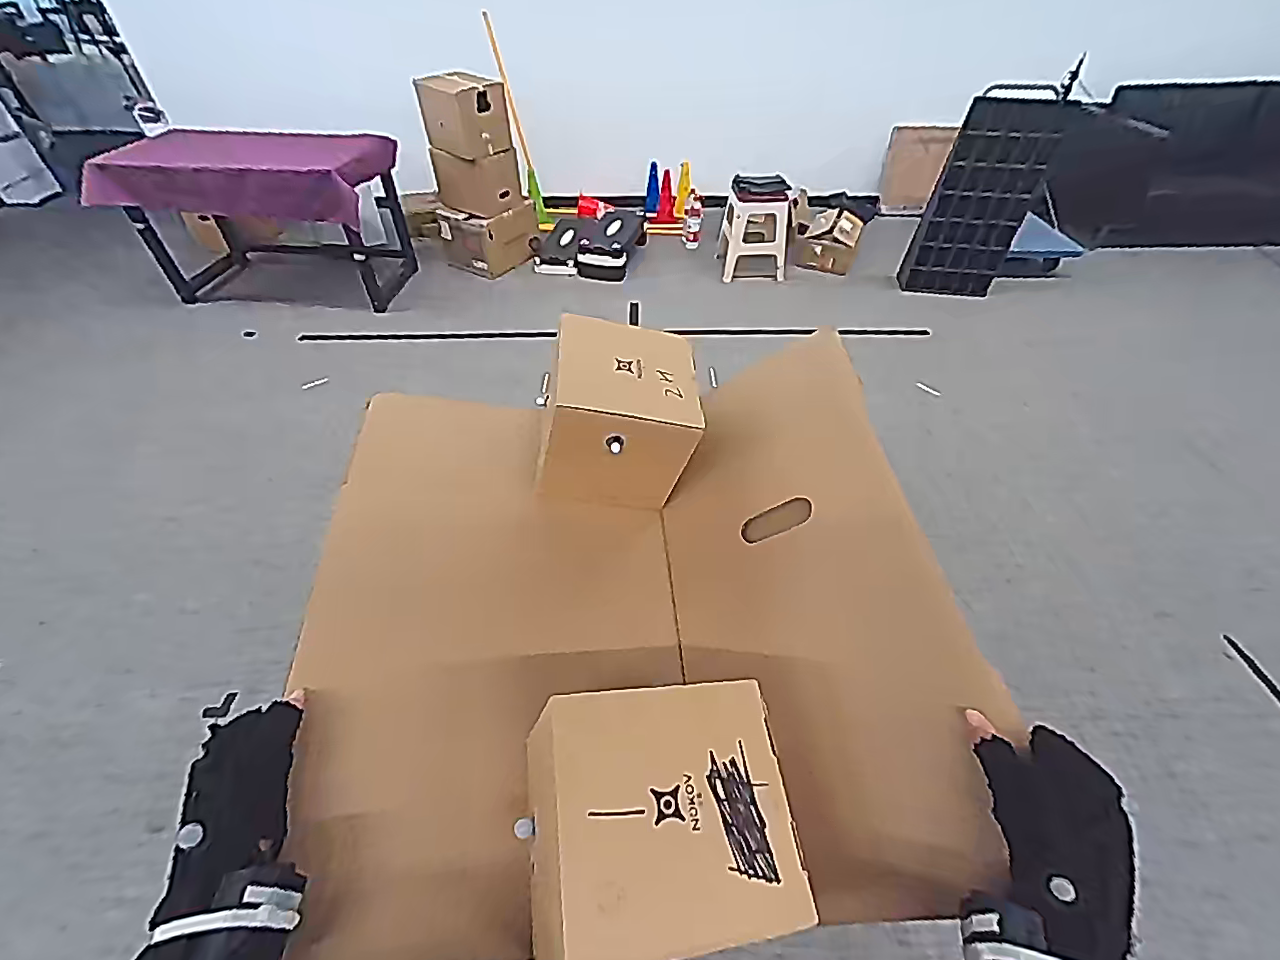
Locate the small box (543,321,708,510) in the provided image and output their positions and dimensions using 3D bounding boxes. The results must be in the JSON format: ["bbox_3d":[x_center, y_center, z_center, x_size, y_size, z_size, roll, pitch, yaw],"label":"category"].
[{"bbox_3d":[-0.027,-0.077,0.711,0.179,0.176,0.168,9,52,-14],"label":"small box"}]
